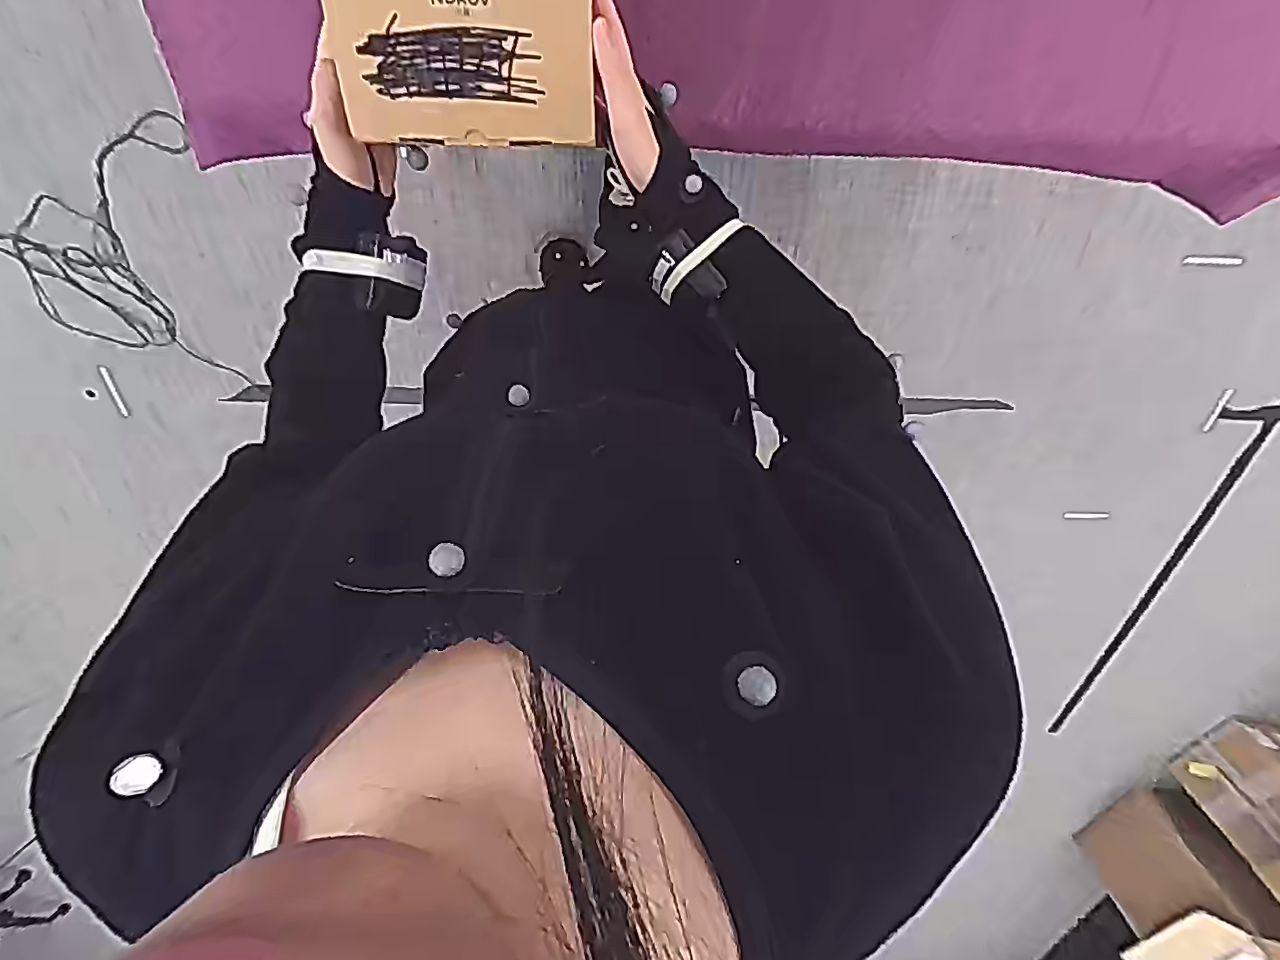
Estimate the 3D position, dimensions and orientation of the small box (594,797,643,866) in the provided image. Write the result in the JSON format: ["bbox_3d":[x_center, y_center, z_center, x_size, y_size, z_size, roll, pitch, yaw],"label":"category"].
[{"bbox_3d":[-0.079,1.308,2.012,0.179,0.176,0.168,-1,120,-1],"label":"small box"}]

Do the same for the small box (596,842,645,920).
[{"bbox_3d":[-0.068,1.384,1.868,0.168,0.176,0.179,0,120,-3],"label":"small box"}]
